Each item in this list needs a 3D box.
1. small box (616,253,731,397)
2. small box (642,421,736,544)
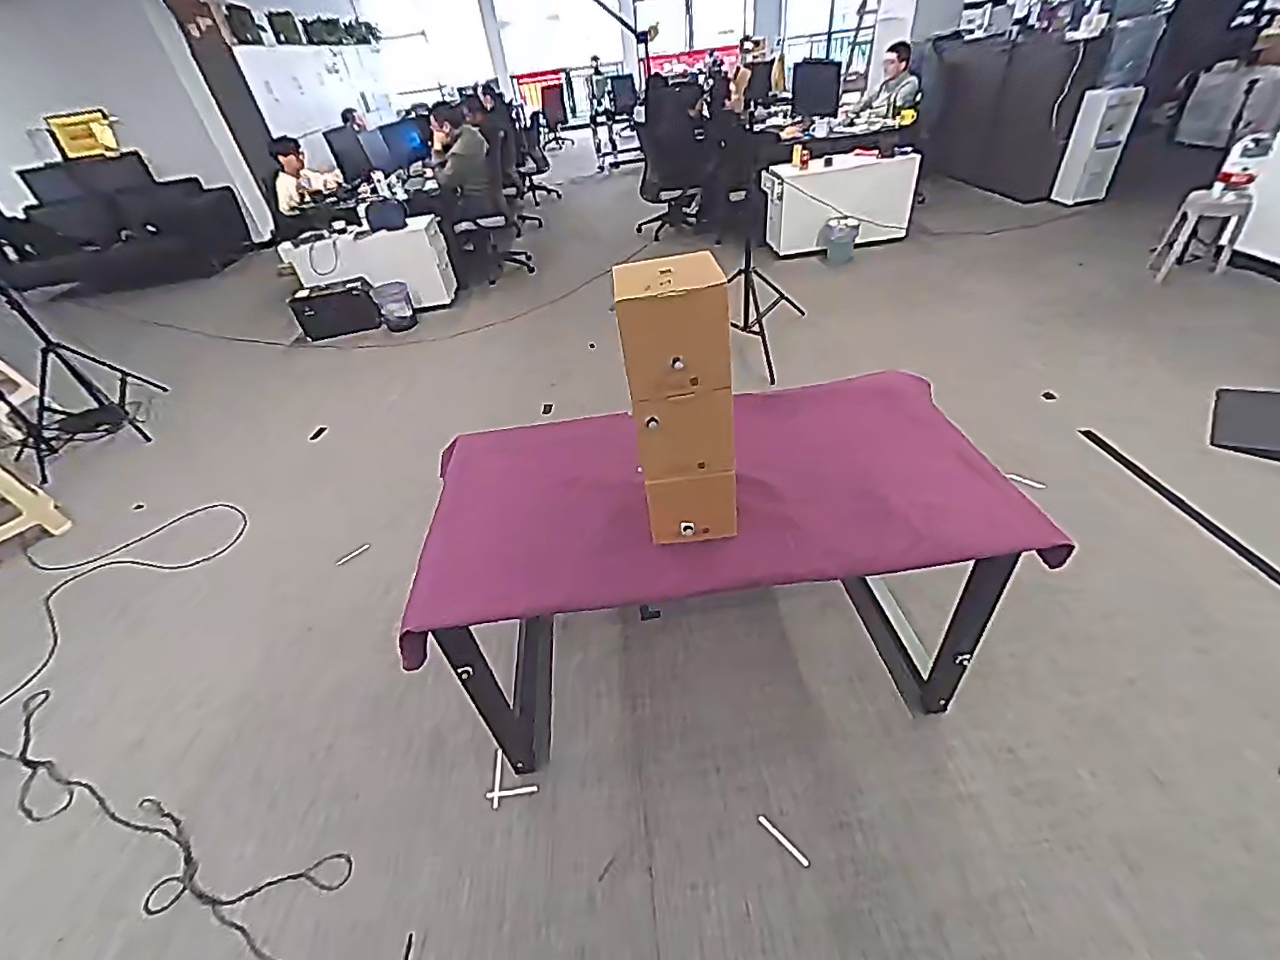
[{"bbox_3d":[0.053,-0.256,0.890,0.168,0.176,0.179,-8,38,2],"label":"small box"},{"bbox_3d":[0.096,0.005,1.088,0.168,0.176,0.179,-8,39,2],"label":"small box"}]
